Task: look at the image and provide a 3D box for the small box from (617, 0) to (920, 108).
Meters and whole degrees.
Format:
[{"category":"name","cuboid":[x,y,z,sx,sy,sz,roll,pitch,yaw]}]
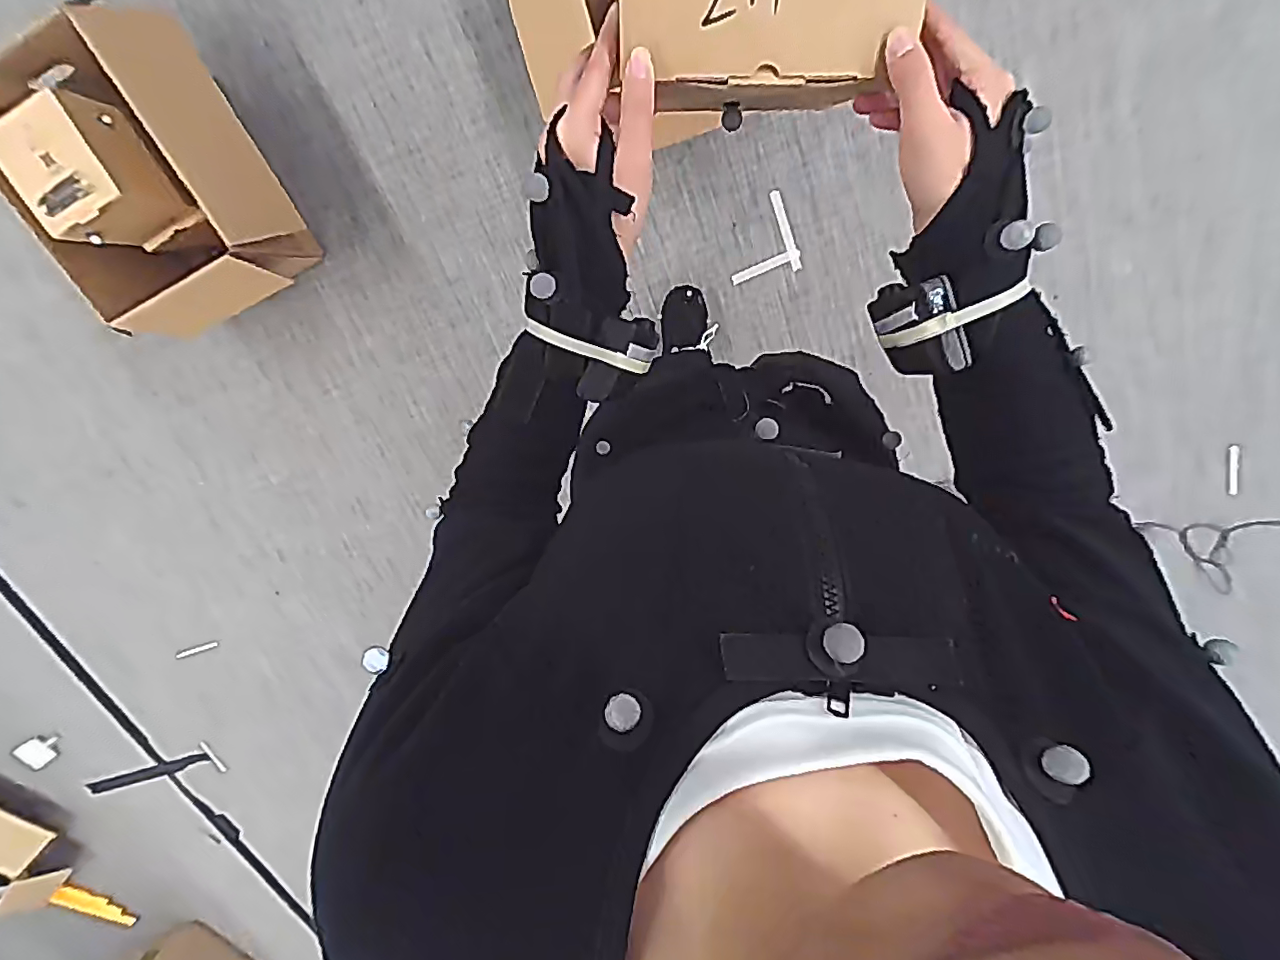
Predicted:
[{"category":"small box","cuboid":[0.068,-0.346,0.333,0.168,0.176,0.179,-1,120,-1]}]
